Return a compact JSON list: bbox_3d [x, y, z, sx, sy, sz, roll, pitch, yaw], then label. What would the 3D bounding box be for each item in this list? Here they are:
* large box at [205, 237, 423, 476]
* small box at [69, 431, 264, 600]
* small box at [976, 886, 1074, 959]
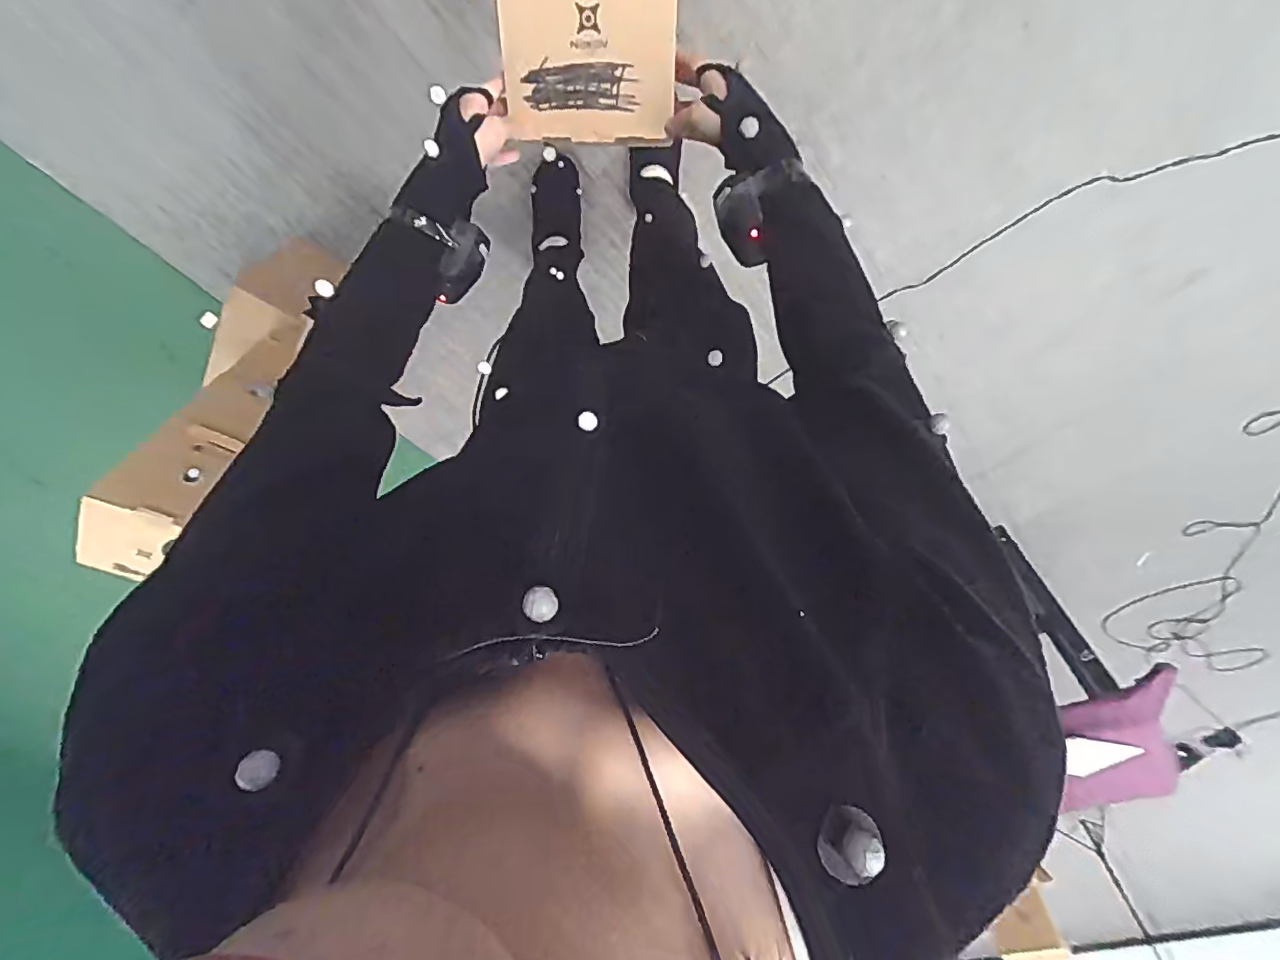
[{"bbox_3d":[-0.784,-0.293,1.318,0.320,0.320,0.408,30,125,-23],"label":"large box"},{"bbox_3d":[-0.741,0.054,0.863,0.168,0.176,0.179,29,122,-24],"label":"small box"},{"bbox_3d":[1.113,1.302,1.566,0.168,0.176,0.179,-30,123,21],"label":"small box"}]
